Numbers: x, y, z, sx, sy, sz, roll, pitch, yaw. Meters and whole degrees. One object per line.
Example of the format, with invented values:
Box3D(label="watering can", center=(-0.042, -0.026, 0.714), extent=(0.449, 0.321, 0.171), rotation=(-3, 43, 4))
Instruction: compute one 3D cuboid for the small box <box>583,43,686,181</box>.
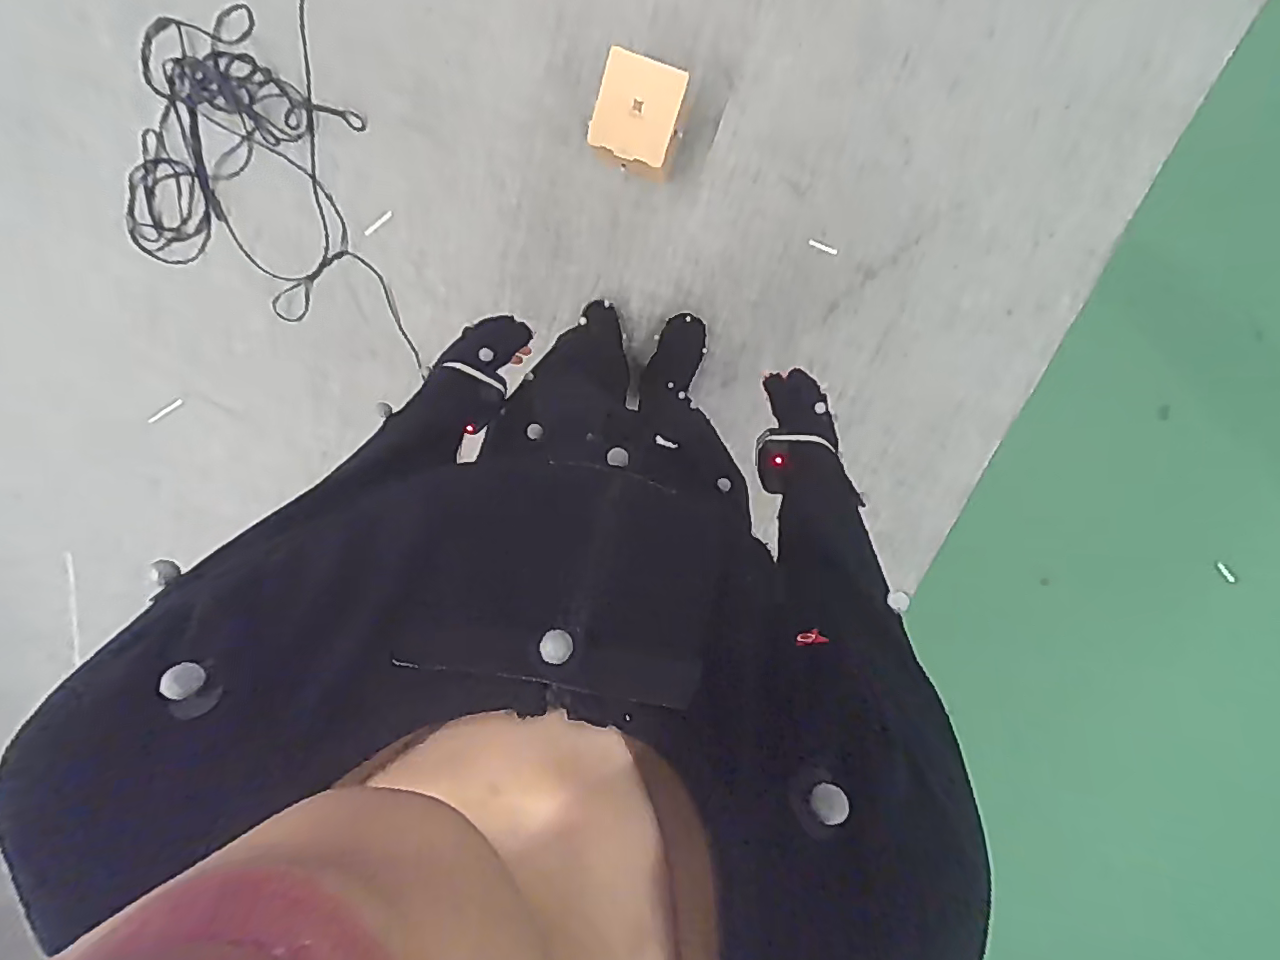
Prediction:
Box3D(label="small box", center=(-0.007, -0.771, 1.152), extent=(0.168, 0.176, 0.179), rotation=(20, 109, 0))
